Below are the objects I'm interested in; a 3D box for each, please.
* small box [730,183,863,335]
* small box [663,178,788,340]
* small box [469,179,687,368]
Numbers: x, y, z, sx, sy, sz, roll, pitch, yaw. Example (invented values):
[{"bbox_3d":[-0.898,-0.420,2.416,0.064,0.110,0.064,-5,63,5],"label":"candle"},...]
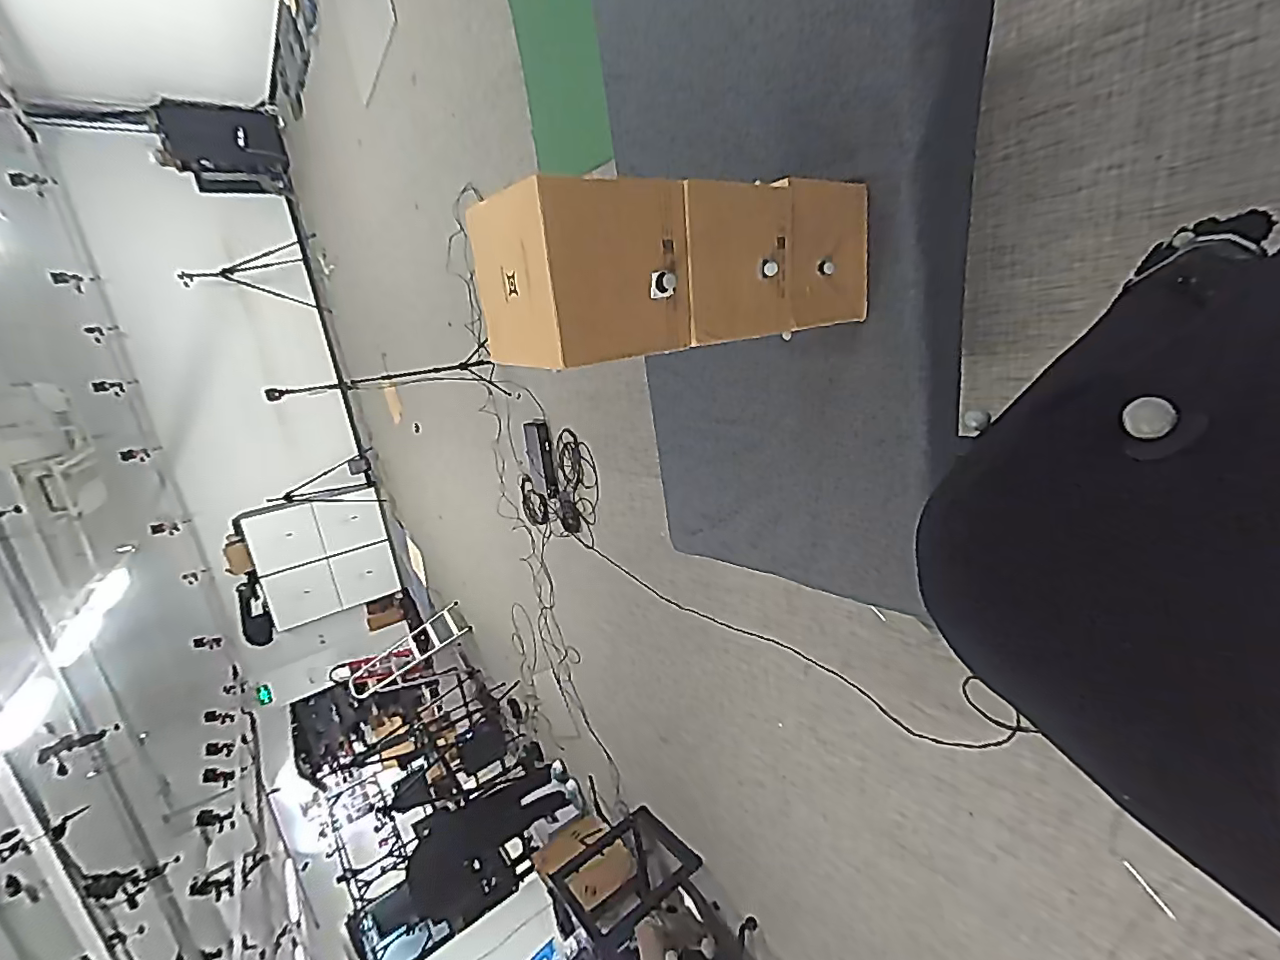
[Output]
[{"bbox_3d":[0.199,-0.310,0.772,0.168,0.176,0.179,15,118,52],"label":"small box"},{"bbox_3d":[0.065,-0.267,0.687,0.179,0.176,0.168,16,118,54],"label":"small box"},{"bbox_3d":[-0.066,-0.224,0.602,0.179,0.176,0.168,18,121,51],"label":"small box"}]
